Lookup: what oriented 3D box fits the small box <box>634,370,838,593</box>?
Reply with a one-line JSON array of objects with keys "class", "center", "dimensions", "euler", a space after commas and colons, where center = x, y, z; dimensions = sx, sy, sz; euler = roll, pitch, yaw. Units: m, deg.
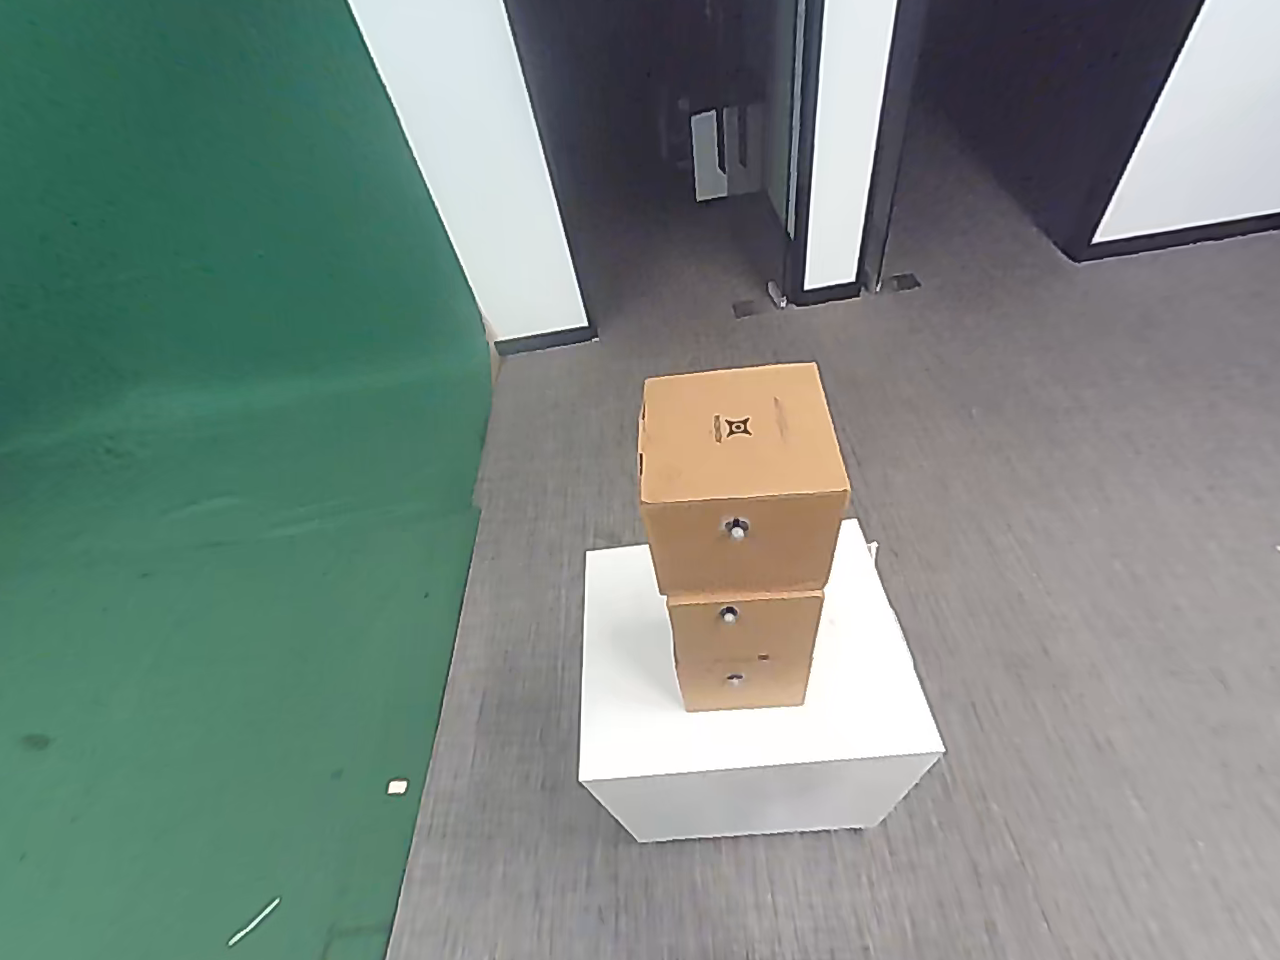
[{"class": "small box", "center": [0.095, 0.008, 0.569], "dimensions": [0.179, 0.176, 0.168], "euler": [-4, 50, 7]}]

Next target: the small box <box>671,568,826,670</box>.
[{"class": "small box", "center": [0.123, 0.120, 0.687], "dimensions": [0.168, 0.176, 0.179], "euler": [-6, 48, 5]}]

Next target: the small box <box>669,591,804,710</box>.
[{"class": "small box", "center": [0.140, 0.230, 0.803], "dimensions": [0.179, 0.176, 0.168], "euler": [-6, 48, 6]}]
